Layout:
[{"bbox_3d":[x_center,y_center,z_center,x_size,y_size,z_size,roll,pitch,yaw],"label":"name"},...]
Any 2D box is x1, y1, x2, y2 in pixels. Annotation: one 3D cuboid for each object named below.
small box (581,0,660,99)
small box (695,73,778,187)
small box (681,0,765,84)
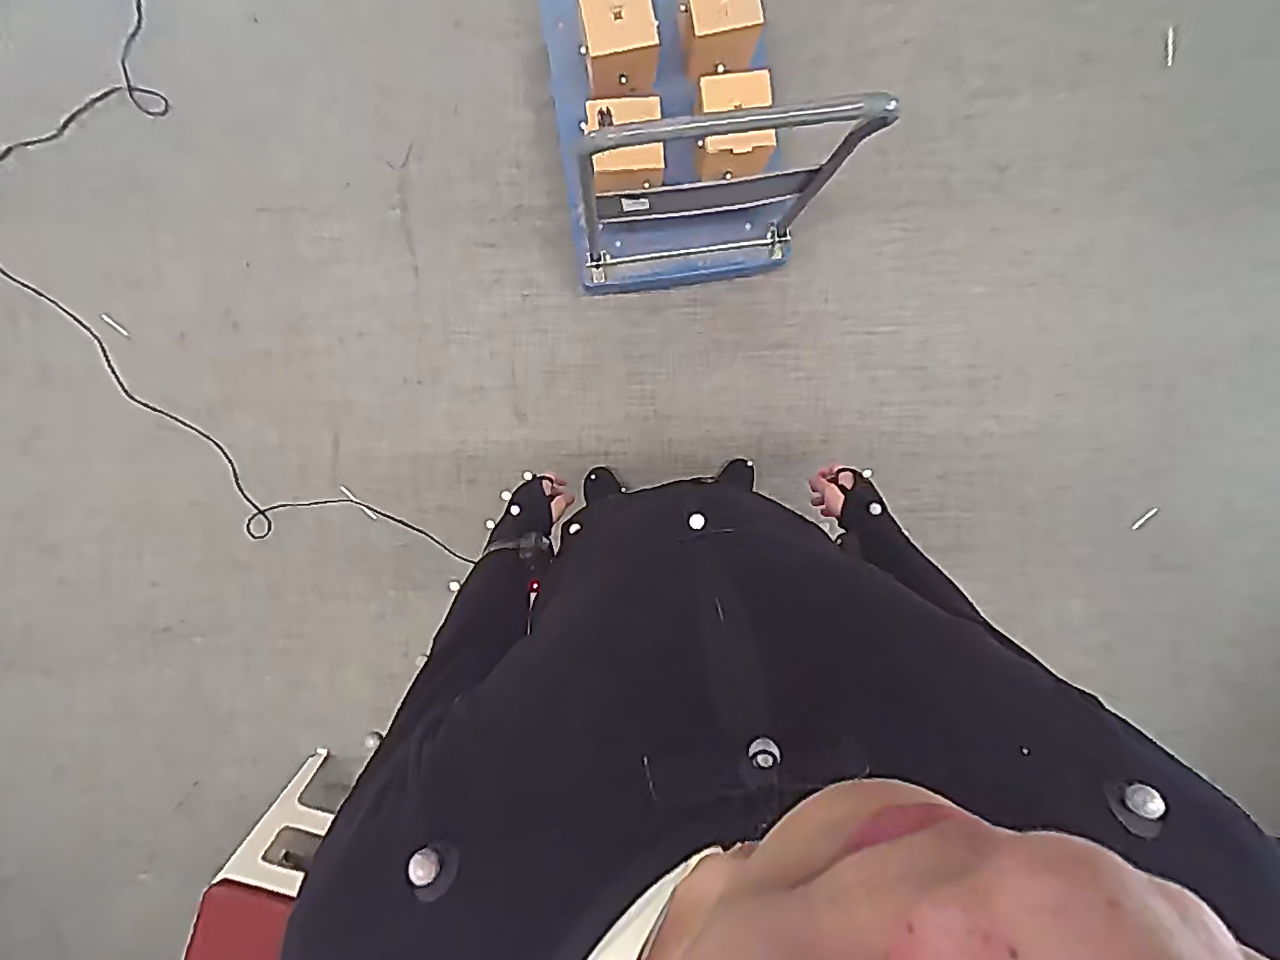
[{"bbox_3d":[-0.047,-1.093,1.351,0.168,0.176,0.179,-11,92,-1],"label":"small box"},{"bbox_3d":[0.237,-0.876,1.364,0.168,0.176,0.179,-7,93,-1],"label":"small box"},{"bbox_3d":[0.200,-1.144,1.352,0.168,0.176,0.179,-11,93,1],"label":"small box"}]
